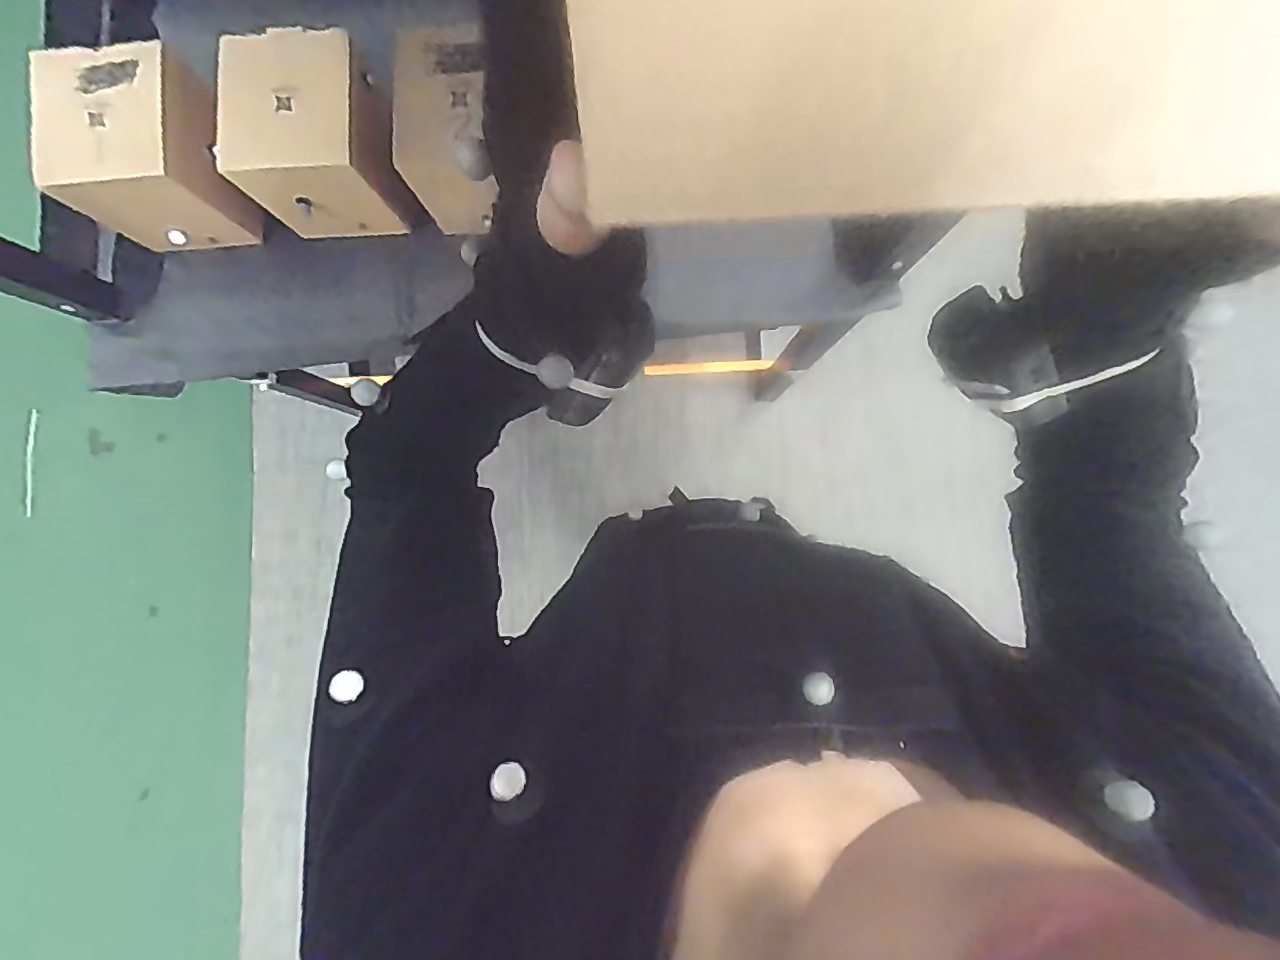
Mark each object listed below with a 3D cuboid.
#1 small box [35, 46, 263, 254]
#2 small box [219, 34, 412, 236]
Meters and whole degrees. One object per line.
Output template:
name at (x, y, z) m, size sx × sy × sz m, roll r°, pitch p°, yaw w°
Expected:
small box at (-0.651, -0.436, 0.738) m, size 0.168 × 0.176 × 0.179 m, roll -5°, pitch 86°, yaw 1°
small box at (-0.425, -0.450, 0.735) m, size 0.168 × 0.176 × 0.179 m, roll -2°, pitch 85°, yaw 1°
